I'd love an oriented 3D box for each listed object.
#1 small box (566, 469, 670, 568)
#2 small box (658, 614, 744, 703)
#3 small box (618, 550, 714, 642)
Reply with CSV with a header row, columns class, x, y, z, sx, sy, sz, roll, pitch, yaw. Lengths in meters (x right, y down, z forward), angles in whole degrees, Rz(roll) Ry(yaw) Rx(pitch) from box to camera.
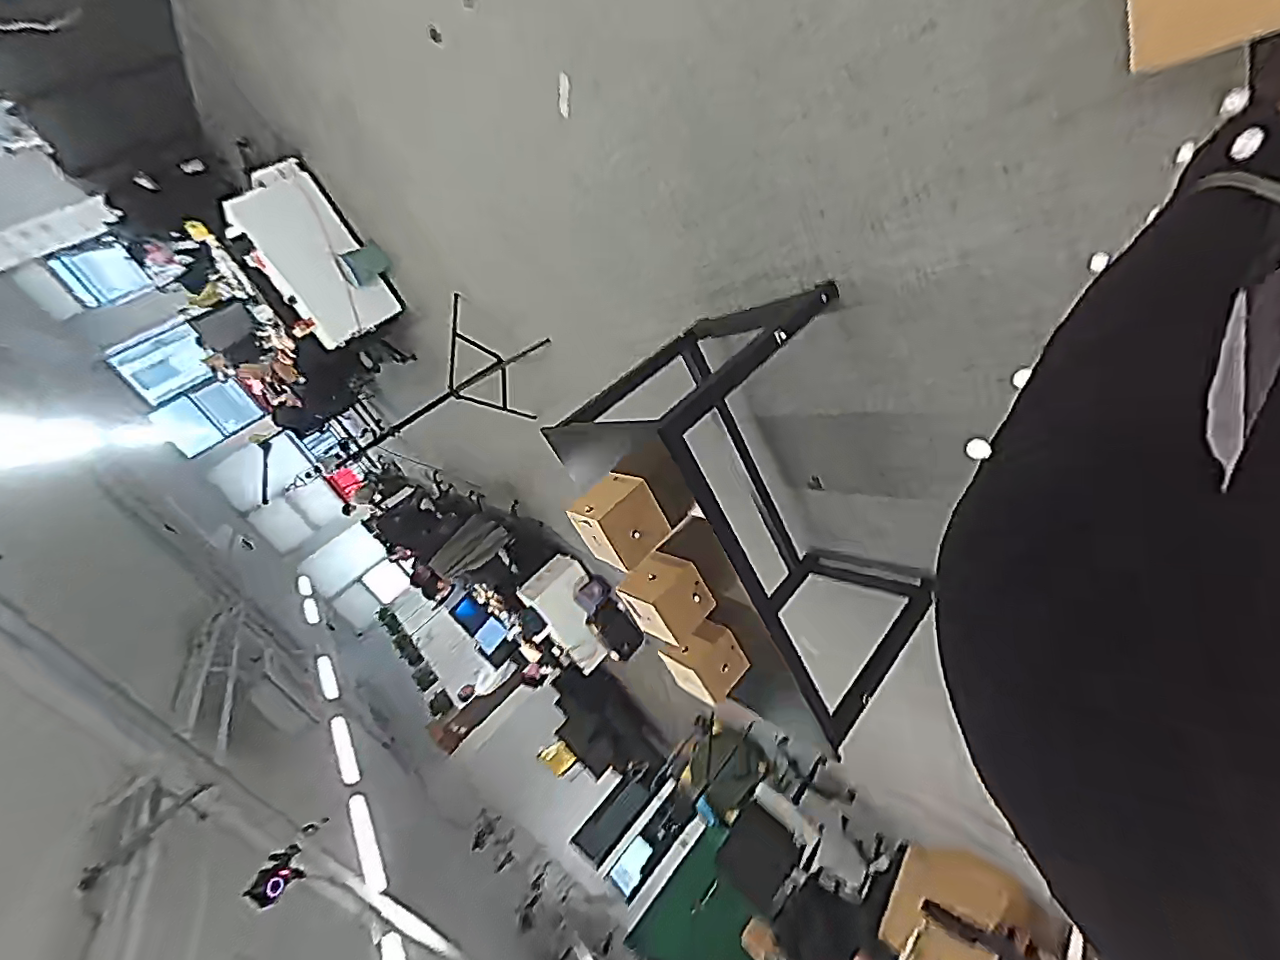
class,x,y,z,sx,sy,sz,roll,pitch,yaw
small box,-0.053,0.095,1.406,0.168,0.176,0.179,12,138,53
small box,0.192,0.528,1.633,0.179,0.176,0.168,8,134,55
small box,0.076,0.318,1.521,0.179,0.176,0.168,8,134,55
